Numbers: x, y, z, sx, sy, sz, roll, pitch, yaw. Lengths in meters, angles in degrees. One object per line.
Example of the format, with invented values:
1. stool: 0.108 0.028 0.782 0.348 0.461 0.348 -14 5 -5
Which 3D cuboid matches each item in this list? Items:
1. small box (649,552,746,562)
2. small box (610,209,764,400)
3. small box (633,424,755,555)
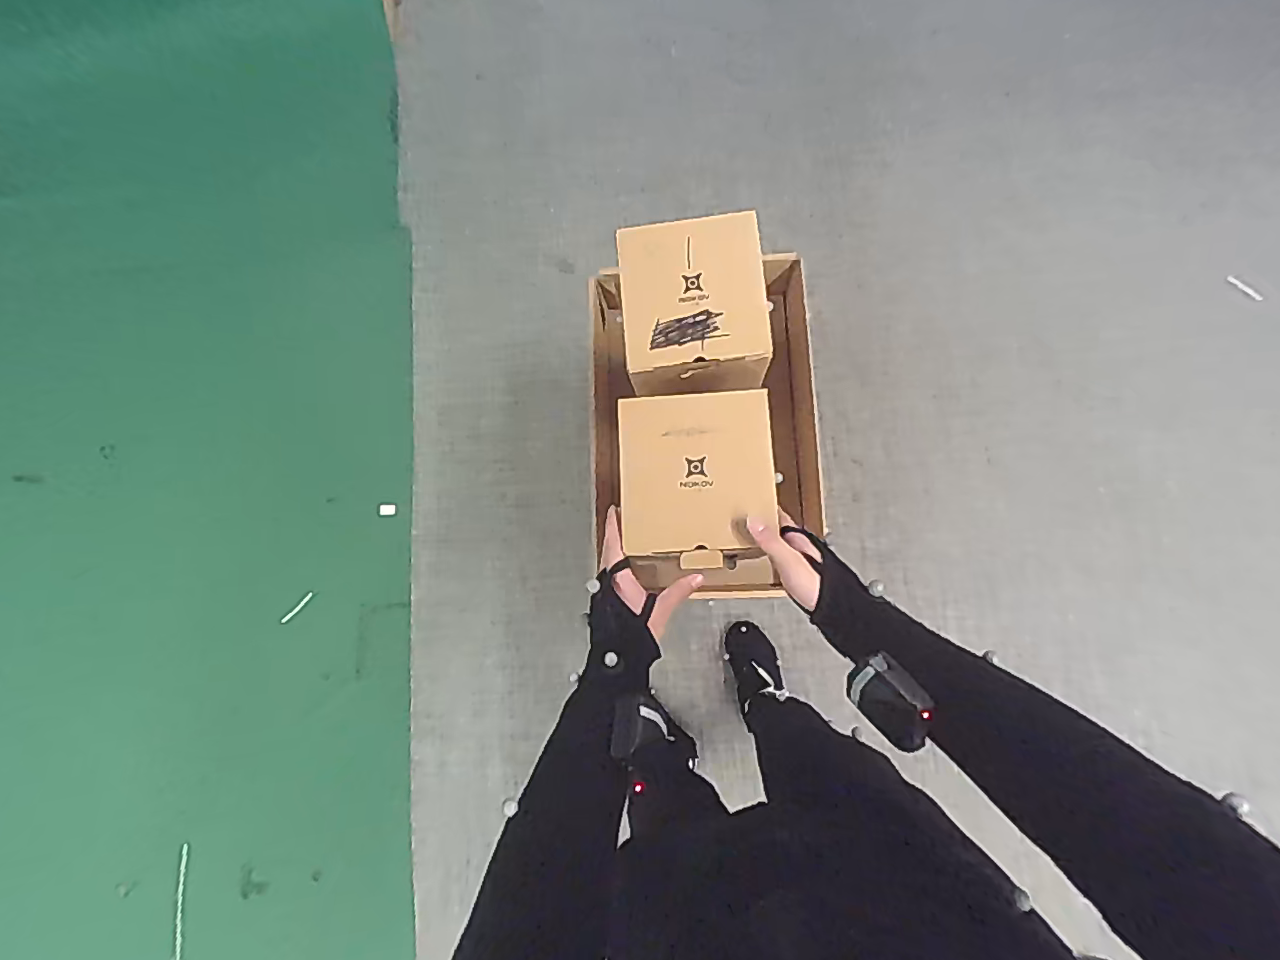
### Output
1. small box: 0.098 0.054 0.975 0.168 0.176 0.179 -3 79 6
2. small box: 0.061 -0.208 0.694 0.168 0.176 0.179 -6 82 5
3. small box: 0.080 0.024 0.816 0.168 0.176 0.179 -2 80 5
